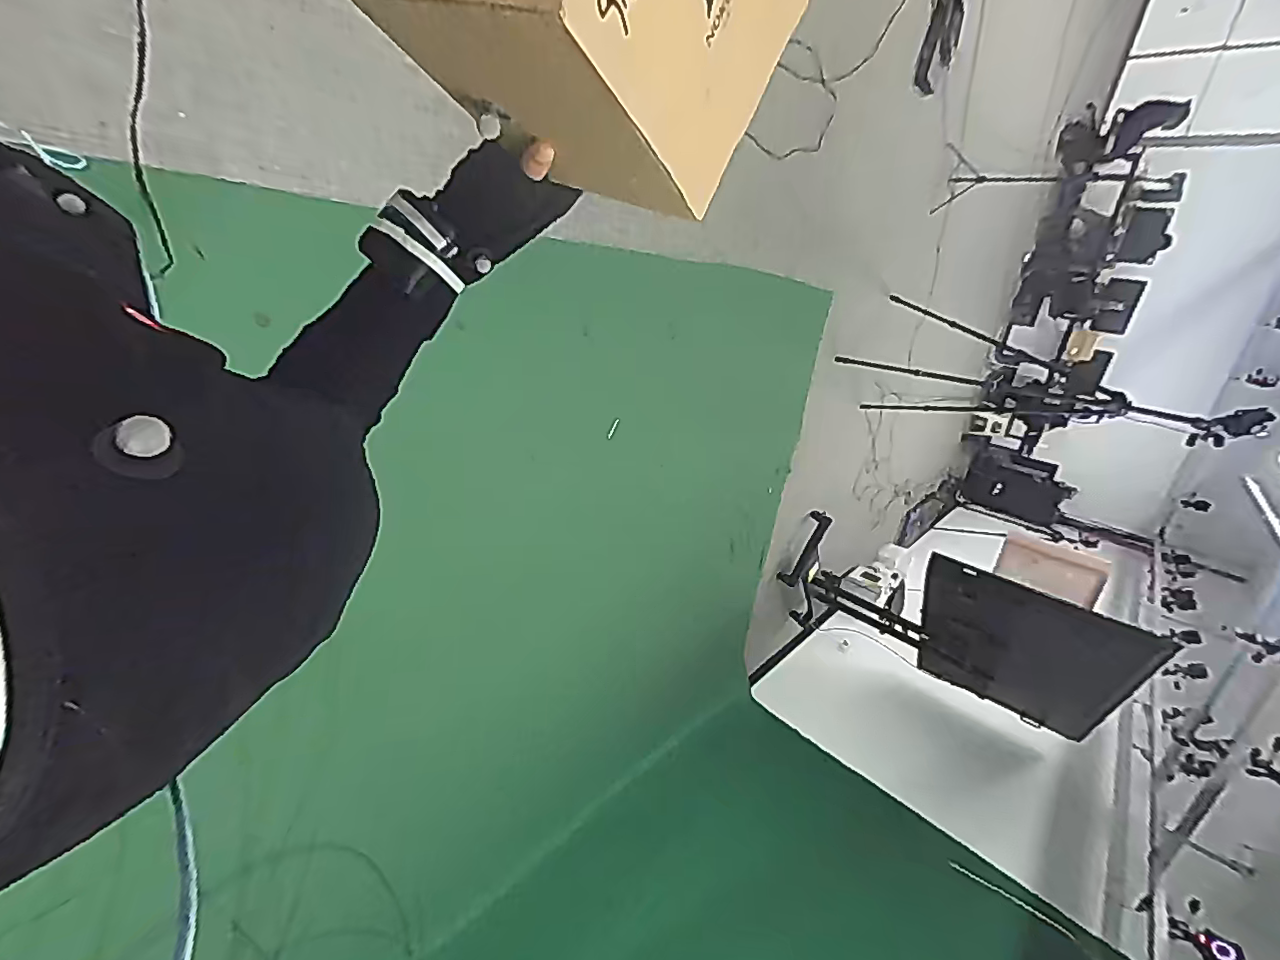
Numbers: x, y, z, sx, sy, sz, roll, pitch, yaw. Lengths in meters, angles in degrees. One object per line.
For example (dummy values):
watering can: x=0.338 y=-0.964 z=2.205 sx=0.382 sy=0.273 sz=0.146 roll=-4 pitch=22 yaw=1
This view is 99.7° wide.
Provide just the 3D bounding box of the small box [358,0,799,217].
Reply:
small box: x=-0.028 y=-0.293 z=0.316 sx=0.168 sy=0.176 sz=0.179 roll=-65 pitch=156 yaw=8
